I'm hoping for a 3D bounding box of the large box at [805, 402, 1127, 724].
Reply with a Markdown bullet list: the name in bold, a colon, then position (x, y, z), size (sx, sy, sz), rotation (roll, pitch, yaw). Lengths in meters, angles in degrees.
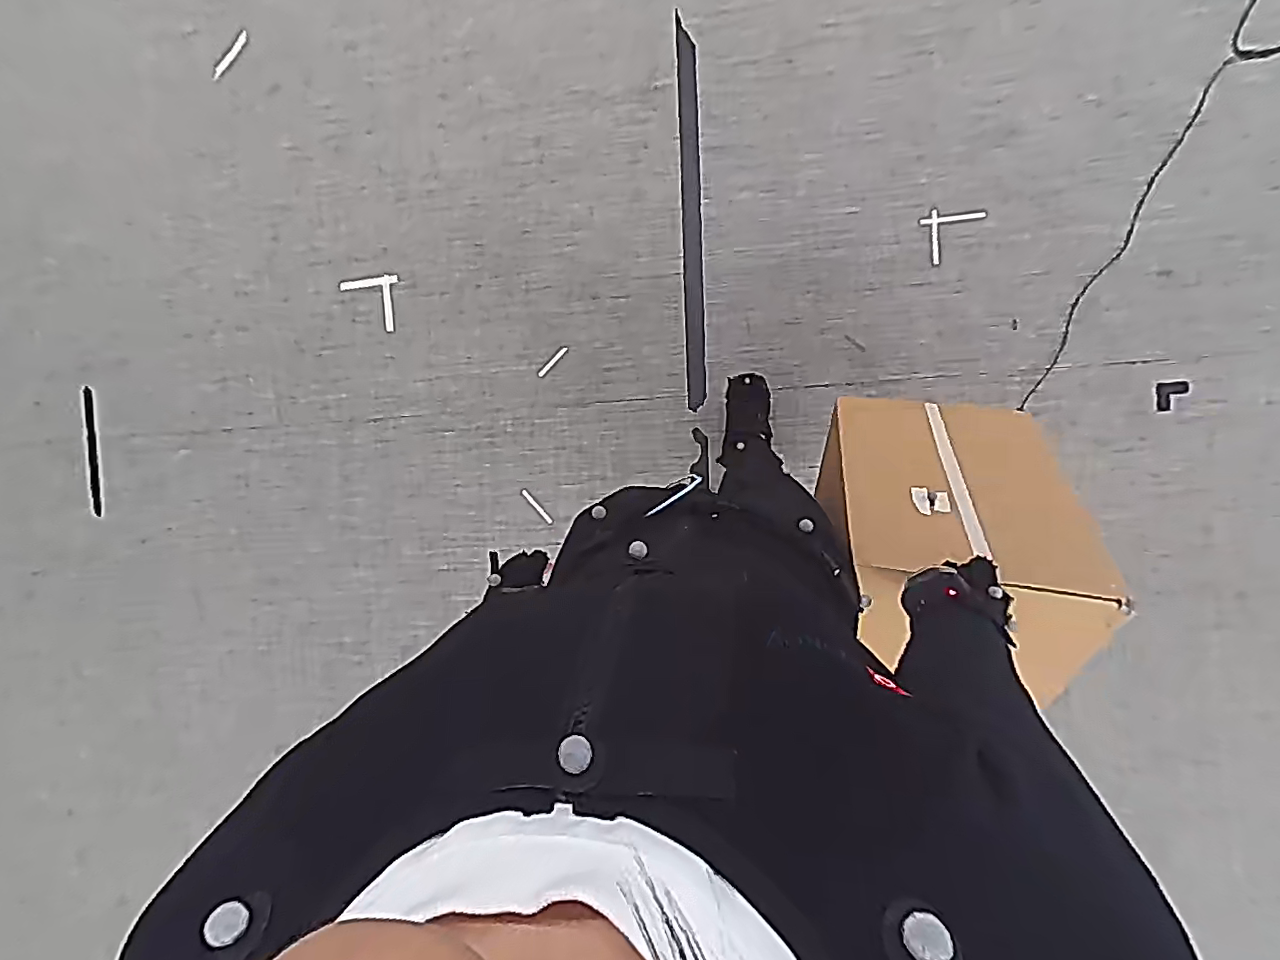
- **large box**: position (0.461, 0.117, 0.896), size (0.320, 0.408, 0.320), rotation (6, 131, 11)
